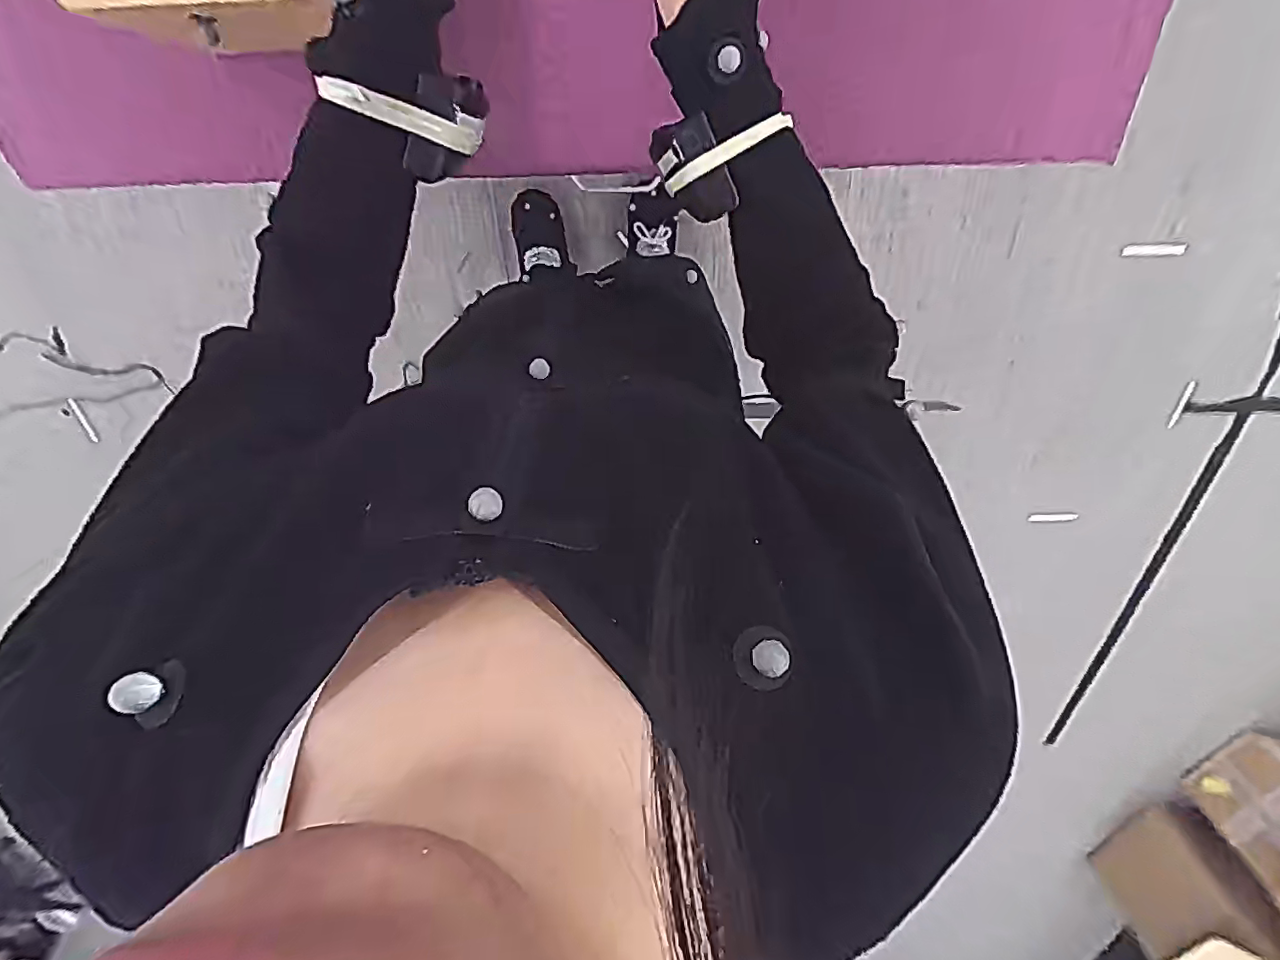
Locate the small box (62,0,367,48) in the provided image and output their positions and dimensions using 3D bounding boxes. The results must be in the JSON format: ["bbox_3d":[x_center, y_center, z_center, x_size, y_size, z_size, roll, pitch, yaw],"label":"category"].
[{"bbox_3d":[-0.345,-0.465,0.430,0.179,0.176,0.168,-1,120,1],"label":"small box"}]
